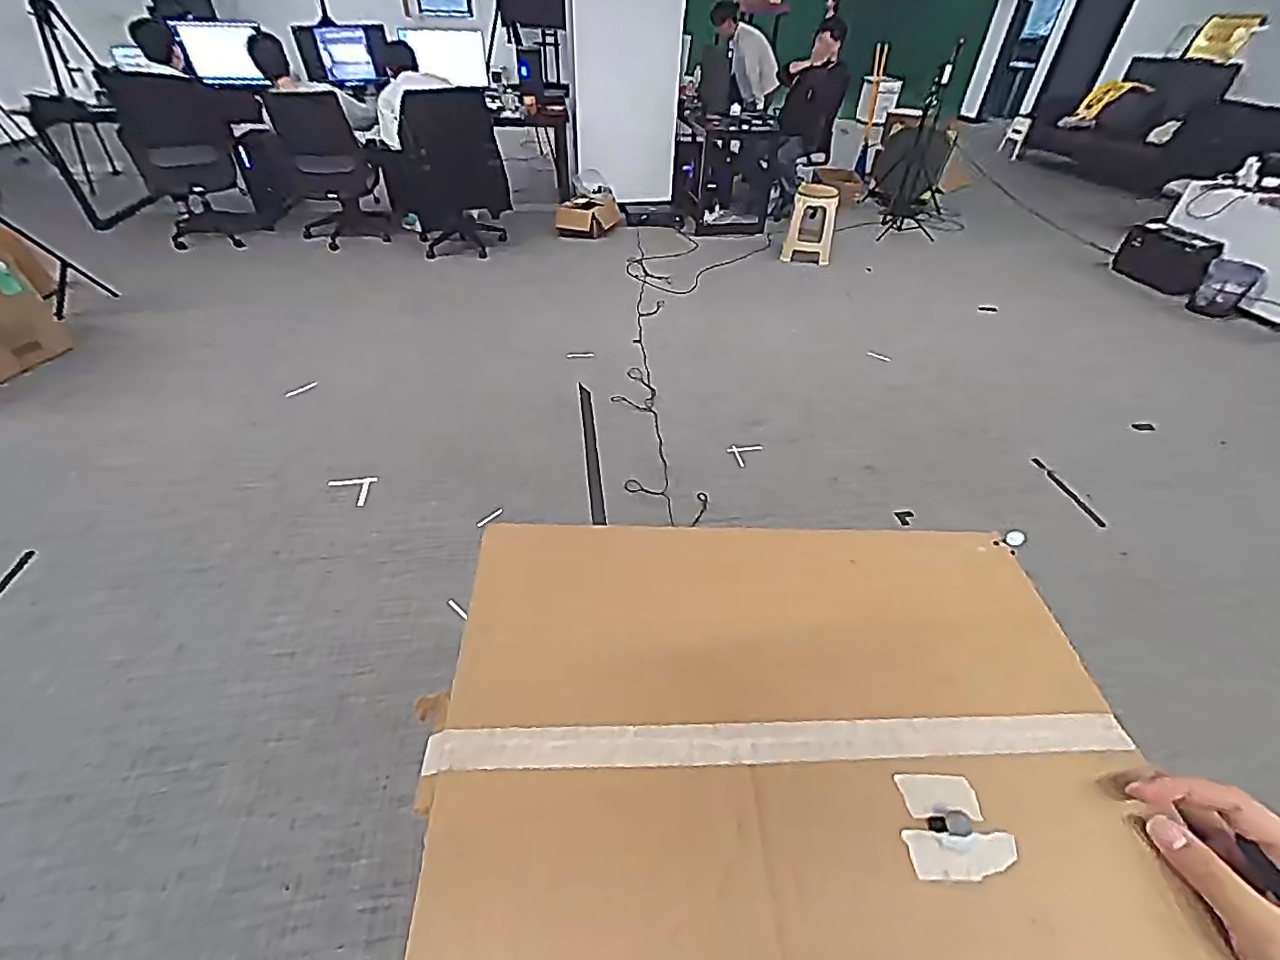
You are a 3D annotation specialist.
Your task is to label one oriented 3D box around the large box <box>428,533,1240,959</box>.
[{"bbox_3d":[0.079,0.258,0.429,0.408,0.320,0.320,2,47,-6],"label":"large box"}]
